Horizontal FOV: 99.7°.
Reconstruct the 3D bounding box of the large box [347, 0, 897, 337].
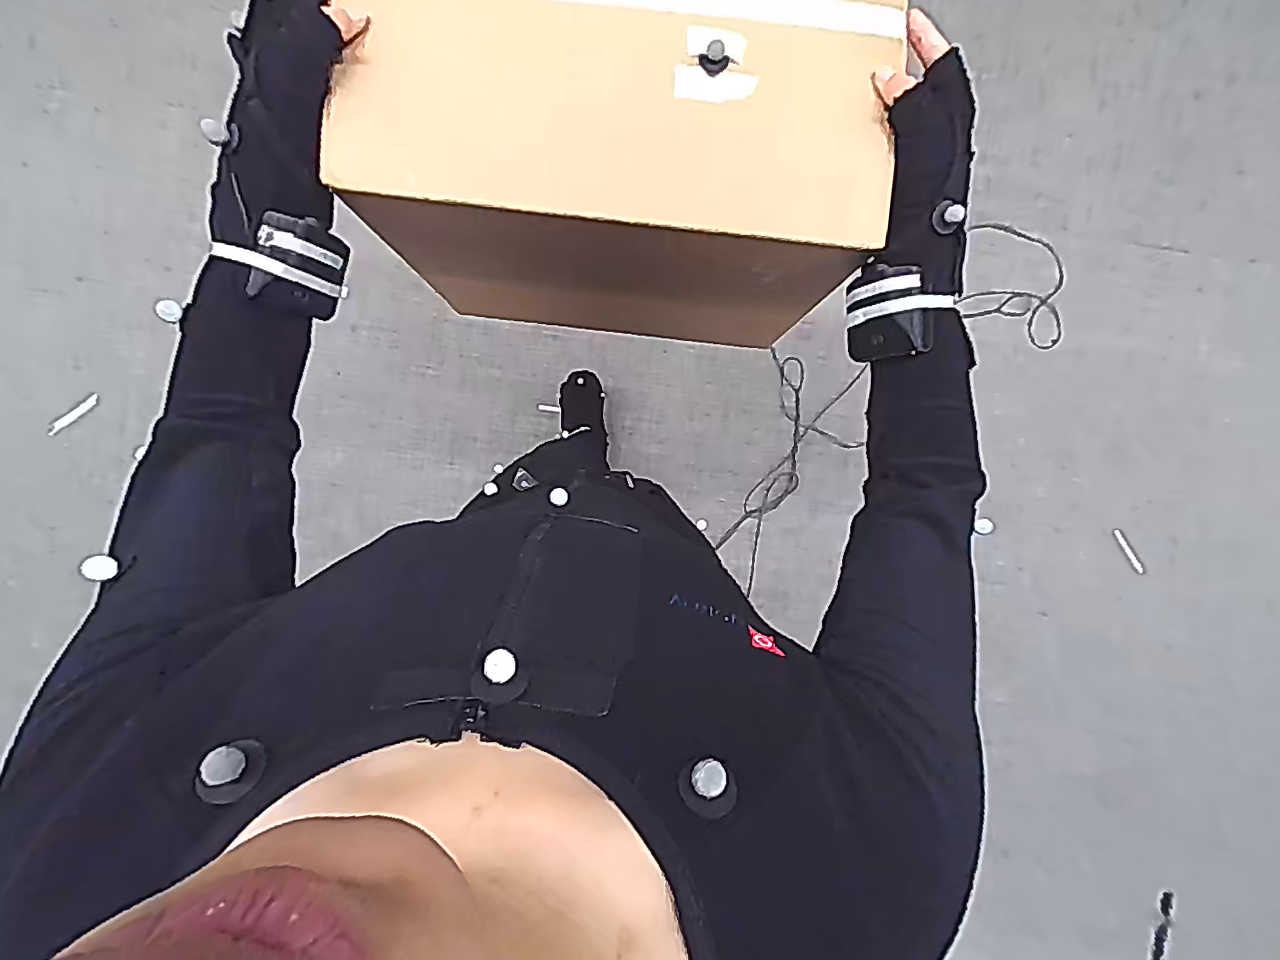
[{"bbox_3d":[-0.013,-0.352,0.550,0.408,0.320,0.320,6,90,-2],"label":"large box"}]
